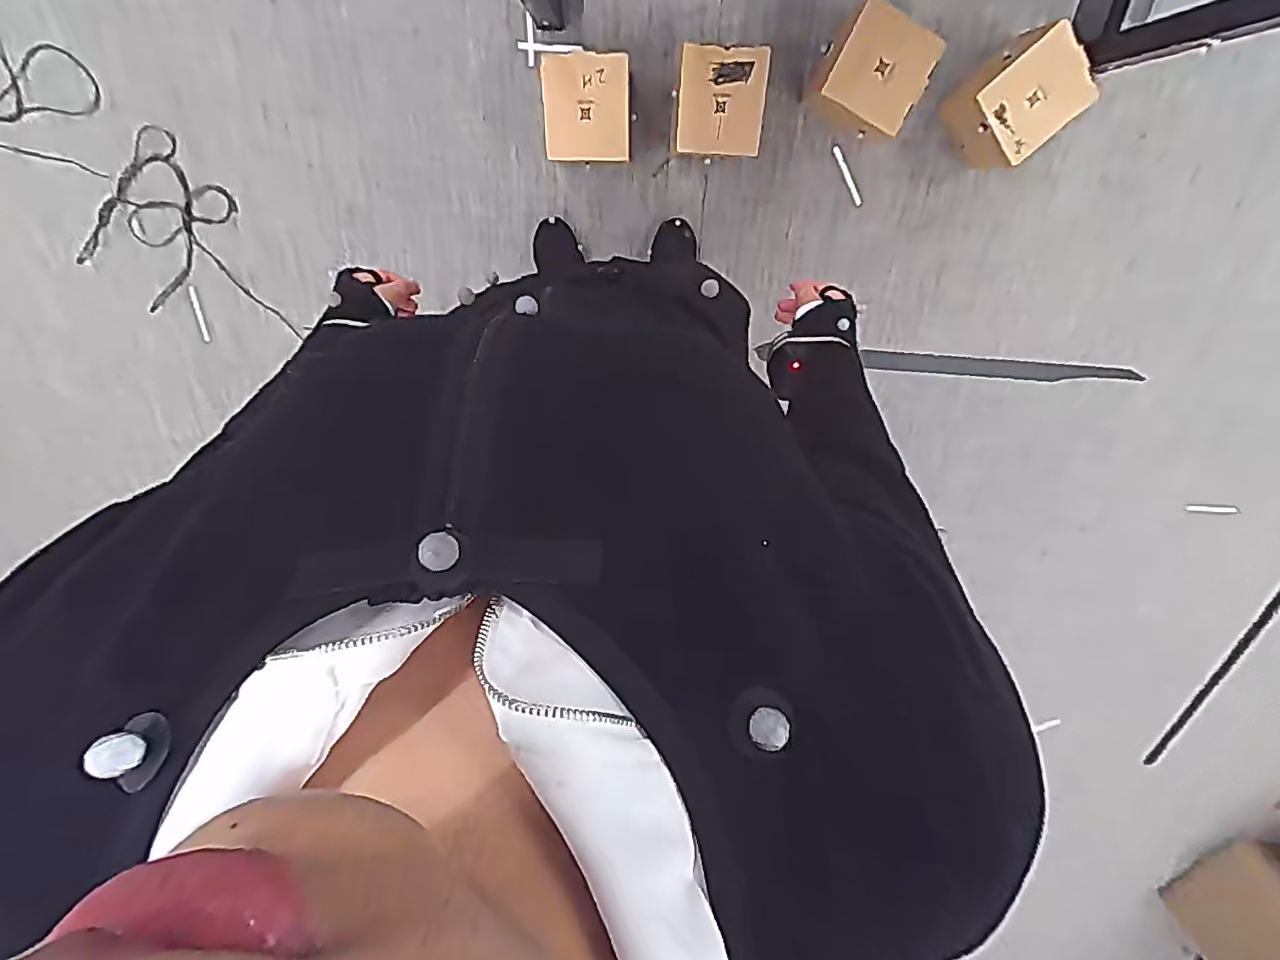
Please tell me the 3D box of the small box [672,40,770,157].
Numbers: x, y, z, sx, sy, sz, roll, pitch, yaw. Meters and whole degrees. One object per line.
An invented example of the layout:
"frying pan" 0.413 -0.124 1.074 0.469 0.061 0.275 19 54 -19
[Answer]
"small box" 0.154 -0.768 1.104 0.168 0.176 0.179 2 120 -1

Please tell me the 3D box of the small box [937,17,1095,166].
"small box" 0.752 -0.773 1.098 0.179 0.176 0.168 -39 111 19

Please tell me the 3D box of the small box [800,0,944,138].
"small box" 0.452 -0.811 1.082 0.179 0.176 0.168 22 116 -10
